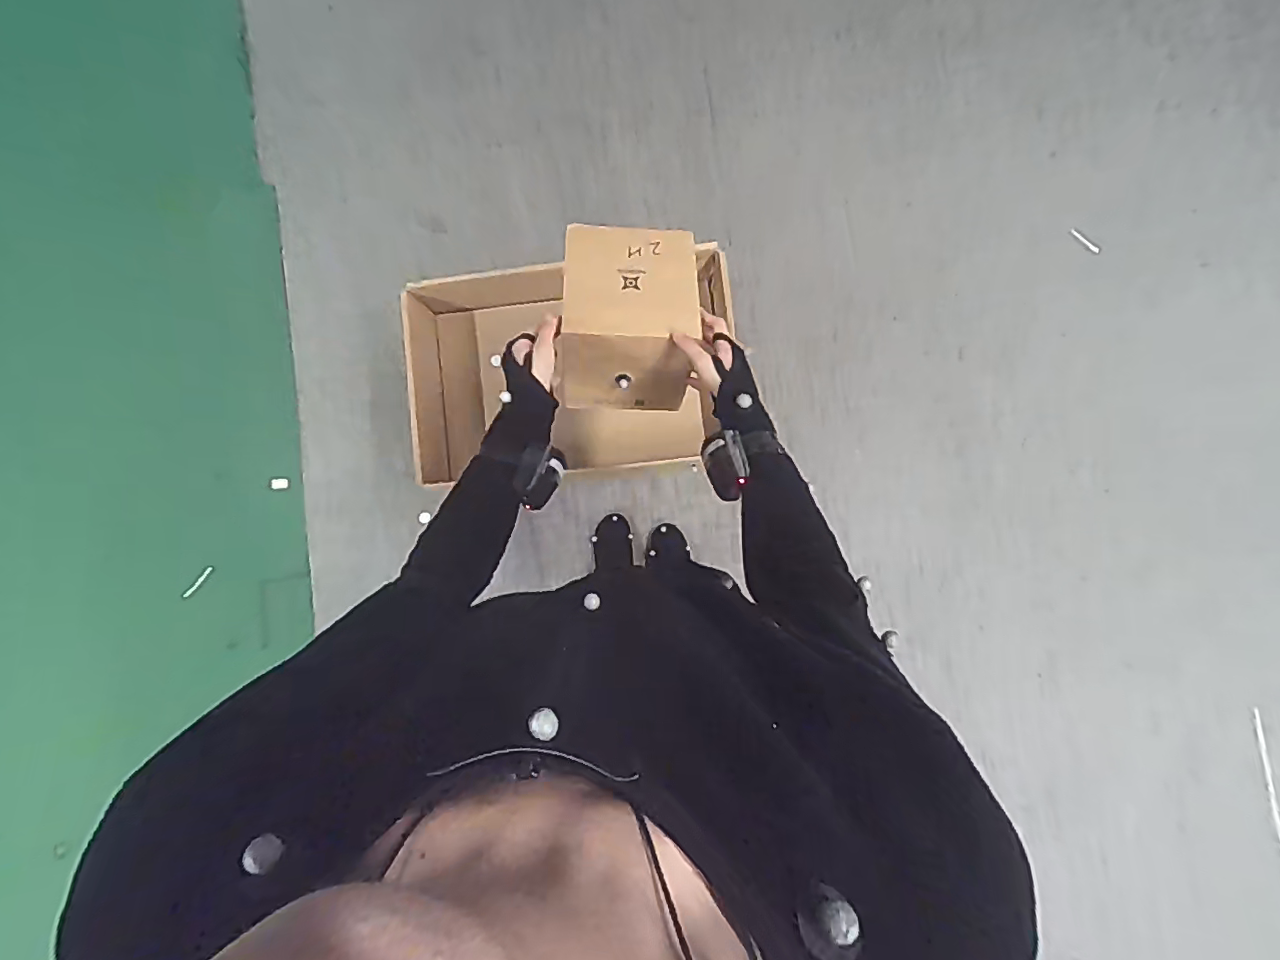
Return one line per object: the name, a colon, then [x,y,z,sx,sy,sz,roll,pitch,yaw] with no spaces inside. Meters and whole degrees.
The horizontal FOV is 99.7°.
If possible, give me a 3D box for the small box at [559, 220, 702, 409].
small box: [-0.017,-0.210,0.717,0.168,0.176,0.179,2,65,-6]
